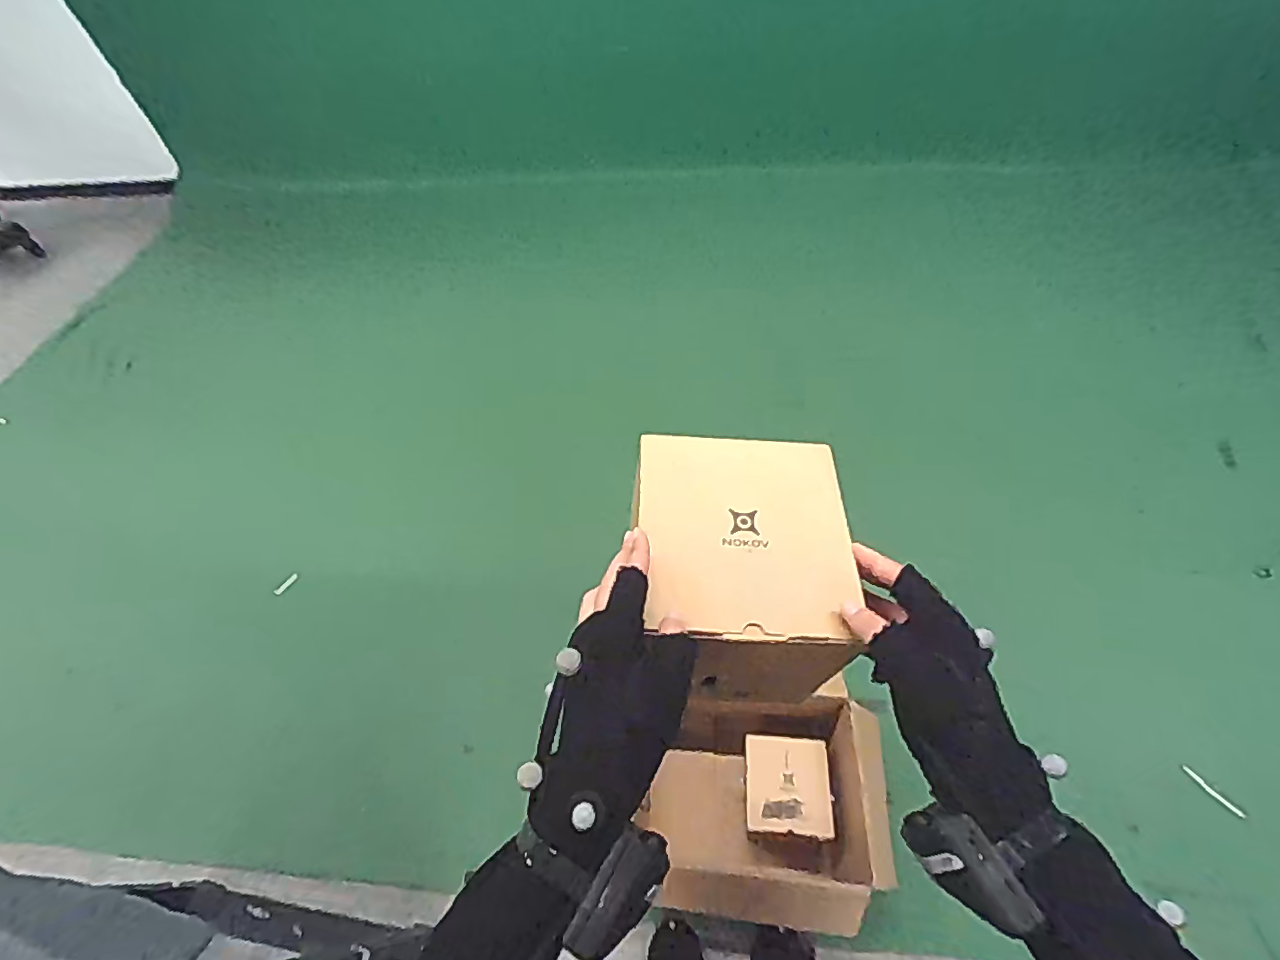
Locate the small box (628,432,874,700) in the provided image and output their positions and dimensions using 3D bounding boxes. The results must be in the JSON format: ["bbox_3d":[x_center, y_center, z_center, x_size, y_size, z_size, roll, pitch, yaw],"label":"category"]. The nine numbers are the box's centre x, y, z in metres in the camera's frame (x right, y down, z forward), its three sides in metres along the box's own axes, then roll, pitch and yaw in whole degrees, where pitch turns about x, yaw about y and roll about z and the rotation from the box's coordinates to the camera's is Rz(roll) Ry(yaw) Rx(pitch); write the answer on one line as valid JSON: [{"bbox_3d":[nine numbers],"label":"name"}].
[{"bbox_3d":[0.076,0.081,0.479,0.168,0.176,0.179,3,56,-2],"label":"small box"}]
